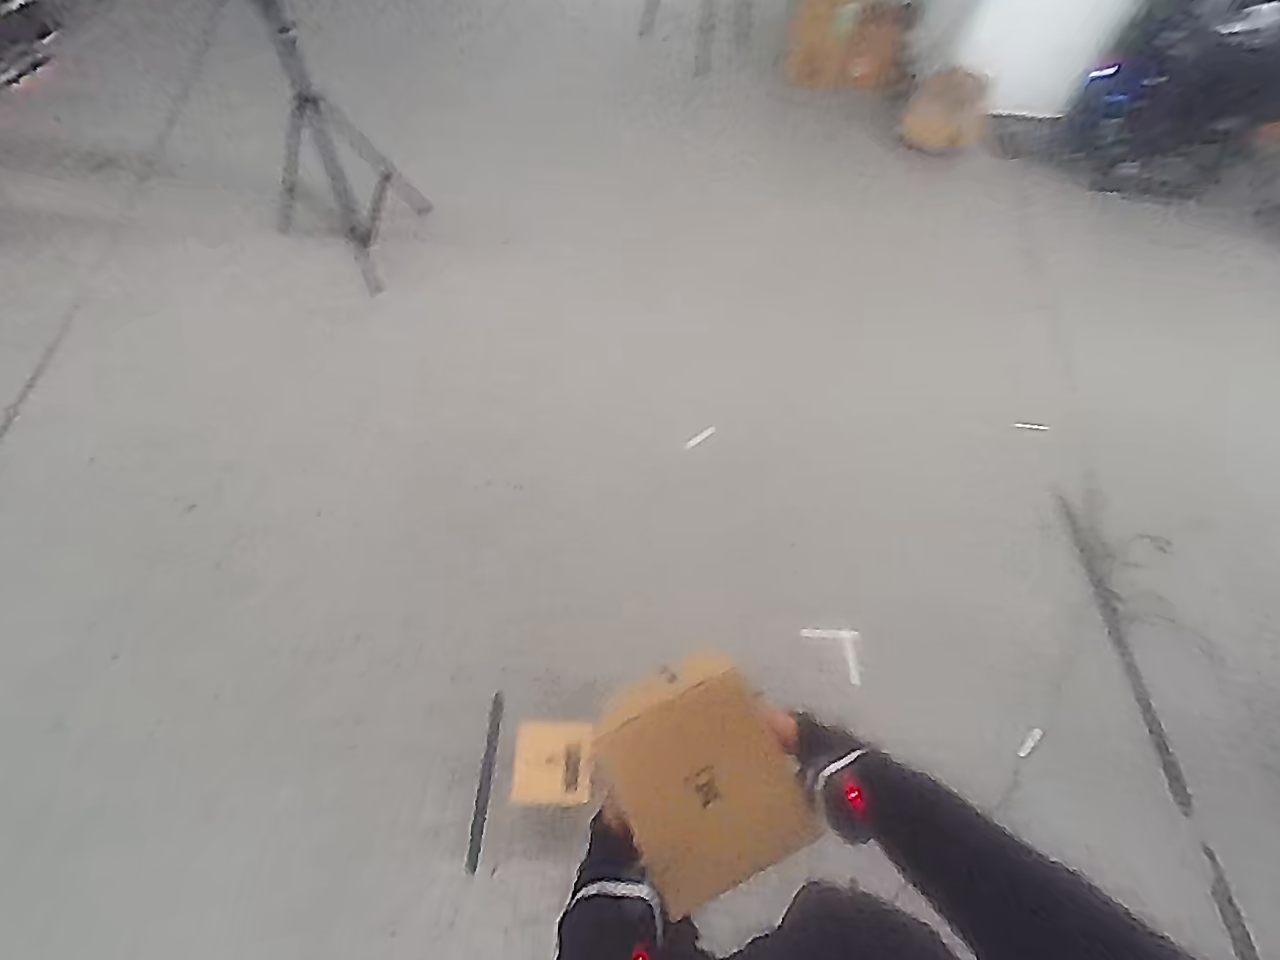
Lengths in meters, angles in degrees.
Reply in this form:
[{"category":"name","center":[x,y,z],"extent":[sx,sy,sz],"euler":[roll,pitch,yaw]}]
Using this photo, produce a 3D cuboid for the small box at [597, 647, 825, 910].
[{"category":"small box","center":[0.070,0.305,0.599],"extent":[0.168,0.176,0.179],"euler":[-26,78,-3]}]
